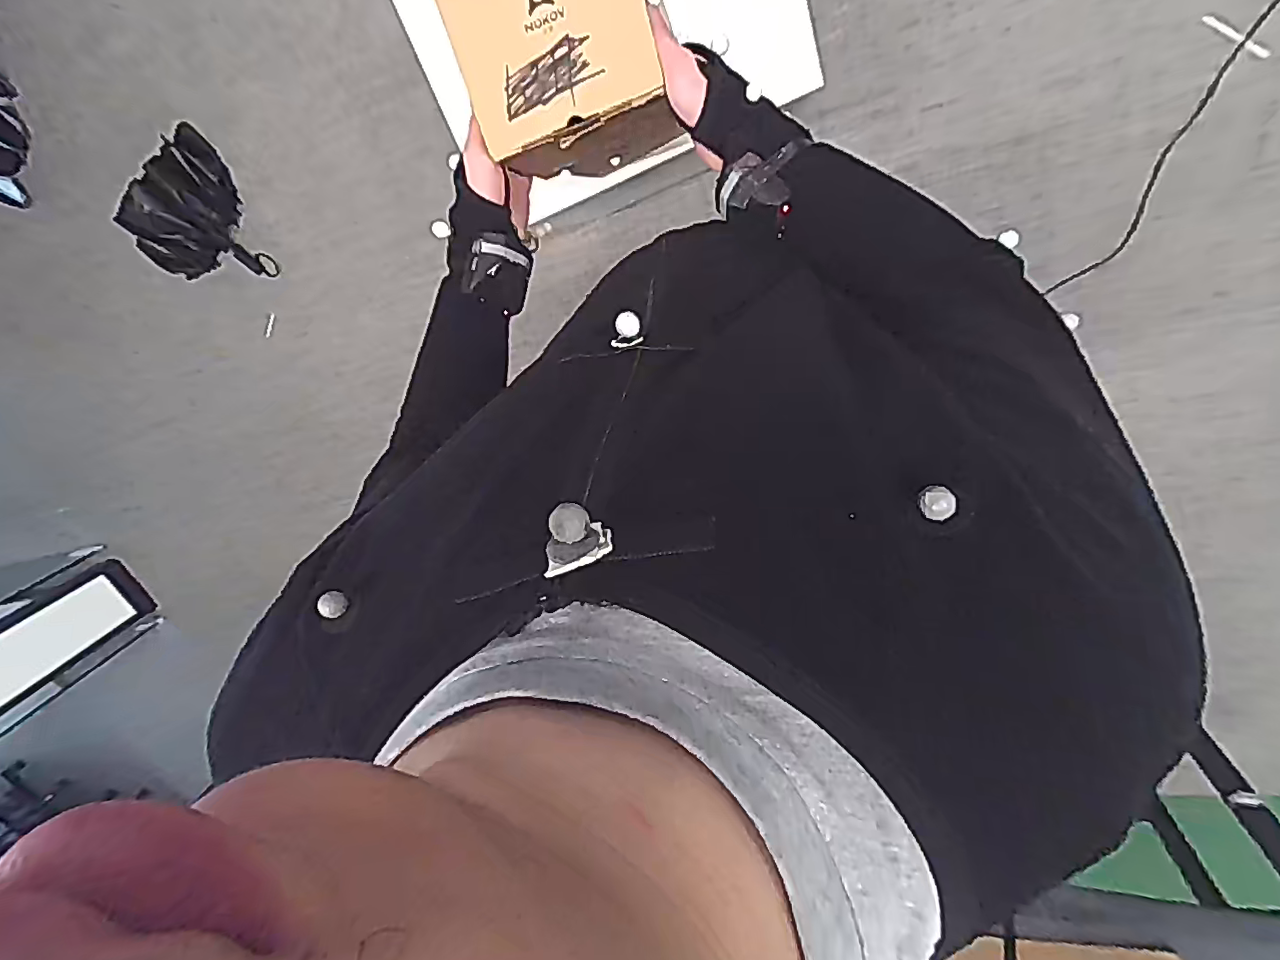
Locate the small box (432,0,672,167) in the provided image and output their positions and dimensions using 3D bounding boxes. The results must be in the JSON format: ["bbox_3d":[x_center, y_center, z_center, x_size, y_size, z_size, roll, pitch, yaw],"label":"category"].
[{"bbox_3d":[-0.073,-0.413,0.504,0.168,0.176,0.179,-14,111,13],"label":"small box"}]

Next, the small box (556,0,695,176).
[{"bbox_3d":[-0.043,-0.501,0.663,0.168,0.176,0.179,-17,111,21],"label":"small box"}]
